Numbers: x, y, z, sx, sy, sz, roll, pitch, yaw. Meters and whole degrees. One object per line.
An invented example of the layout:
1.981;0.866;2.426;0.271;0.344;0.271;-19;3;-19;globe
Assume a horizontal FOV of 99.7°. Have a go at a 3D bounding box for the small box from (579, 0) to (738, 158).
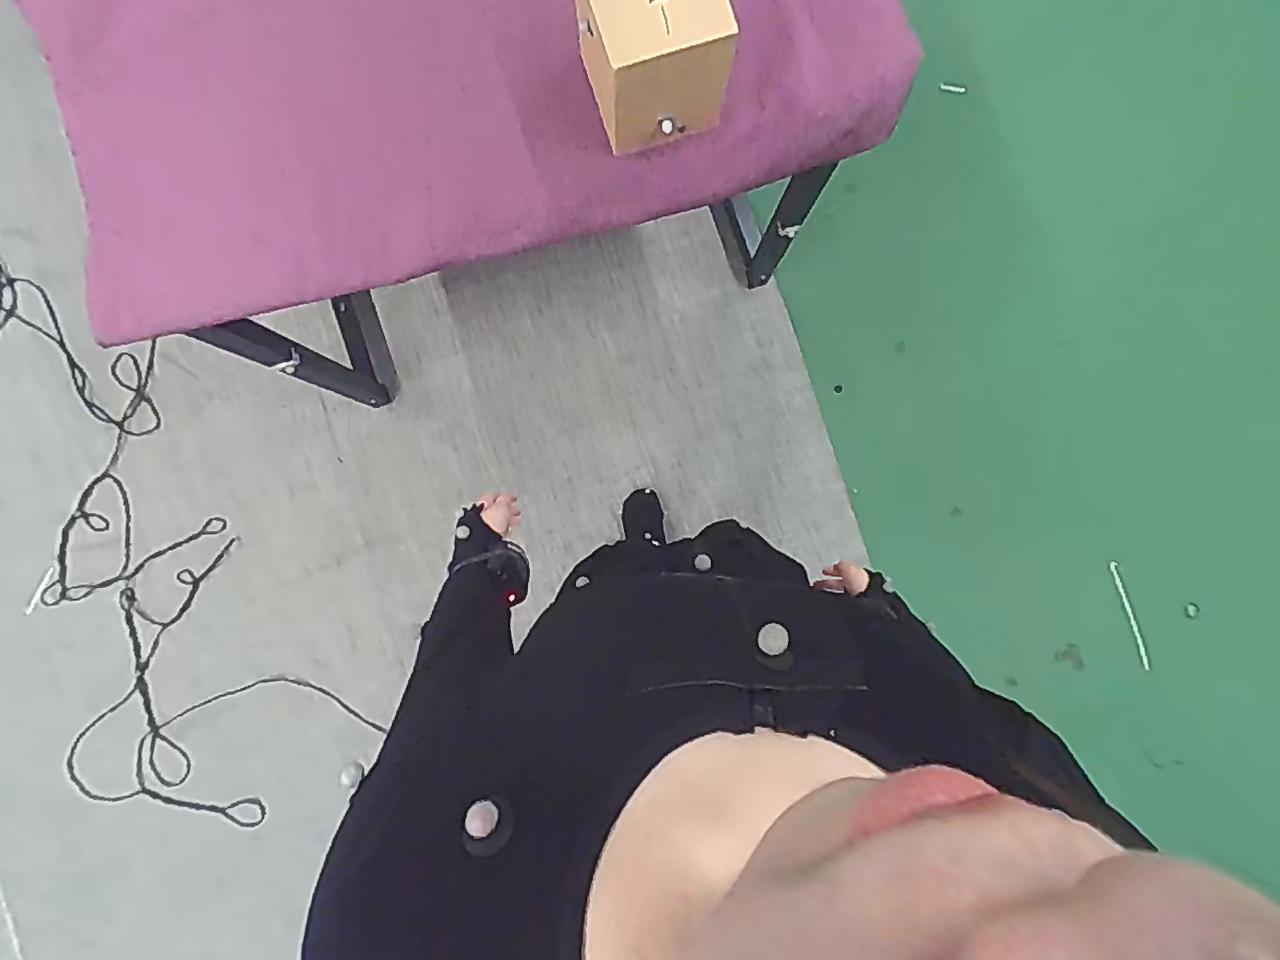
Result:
0.016;-0.592;0.742;0.168;0.176;0.179;-18;87;-2;small box
